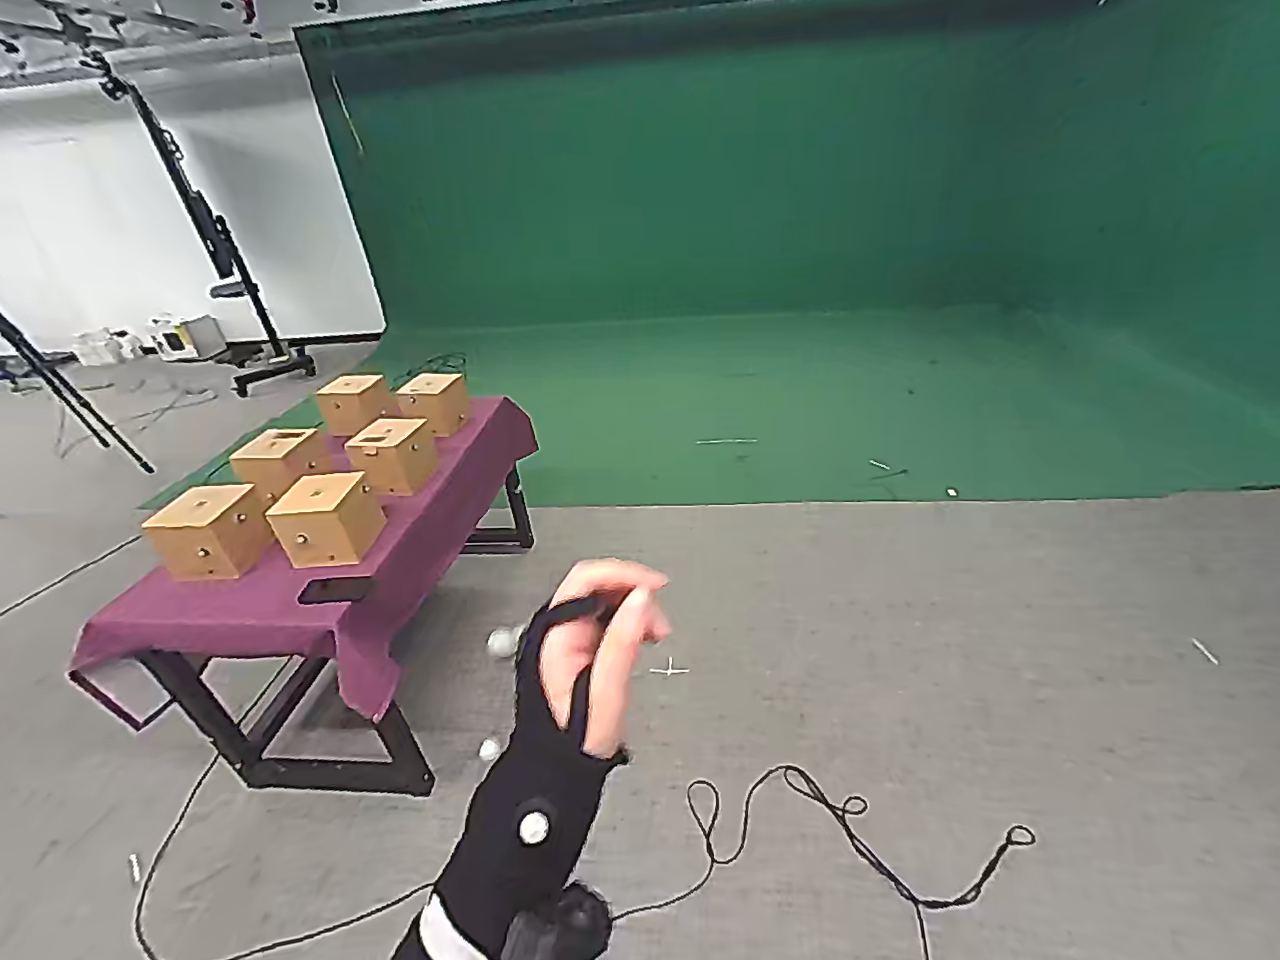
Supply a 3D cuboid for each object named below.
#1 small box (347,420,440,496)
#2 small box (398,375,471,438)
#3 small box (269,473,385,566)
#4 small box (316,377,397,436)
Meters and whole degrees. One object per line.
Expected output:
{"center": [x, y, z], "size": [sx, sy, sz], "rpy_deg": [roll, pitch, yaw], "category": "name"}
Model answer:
{"center": [-0.723, -0.066, 1.613], "size": [0.168, 0.176, 0.179], "rpy_deg": [2, 32, 12], "category": "small box"}
{"center": [-0.722, -0.263, 1.927], "size": [0.168, 0.176, 0.179], "rpy_deg": [2, 32, 13], "category": "small box"}
{"center": [-0.767, 0.103, 1.352], "size": [0.168, 0.176, 0.179], "rpy_deg": [-5, 31, 2], "category": "small box"}
{"center": [-1.031, -0.267, 1.979], "size": [0.179, 0.176, 0.168], "rpy_deg": [2, 33, 10], "category": "small box"}
